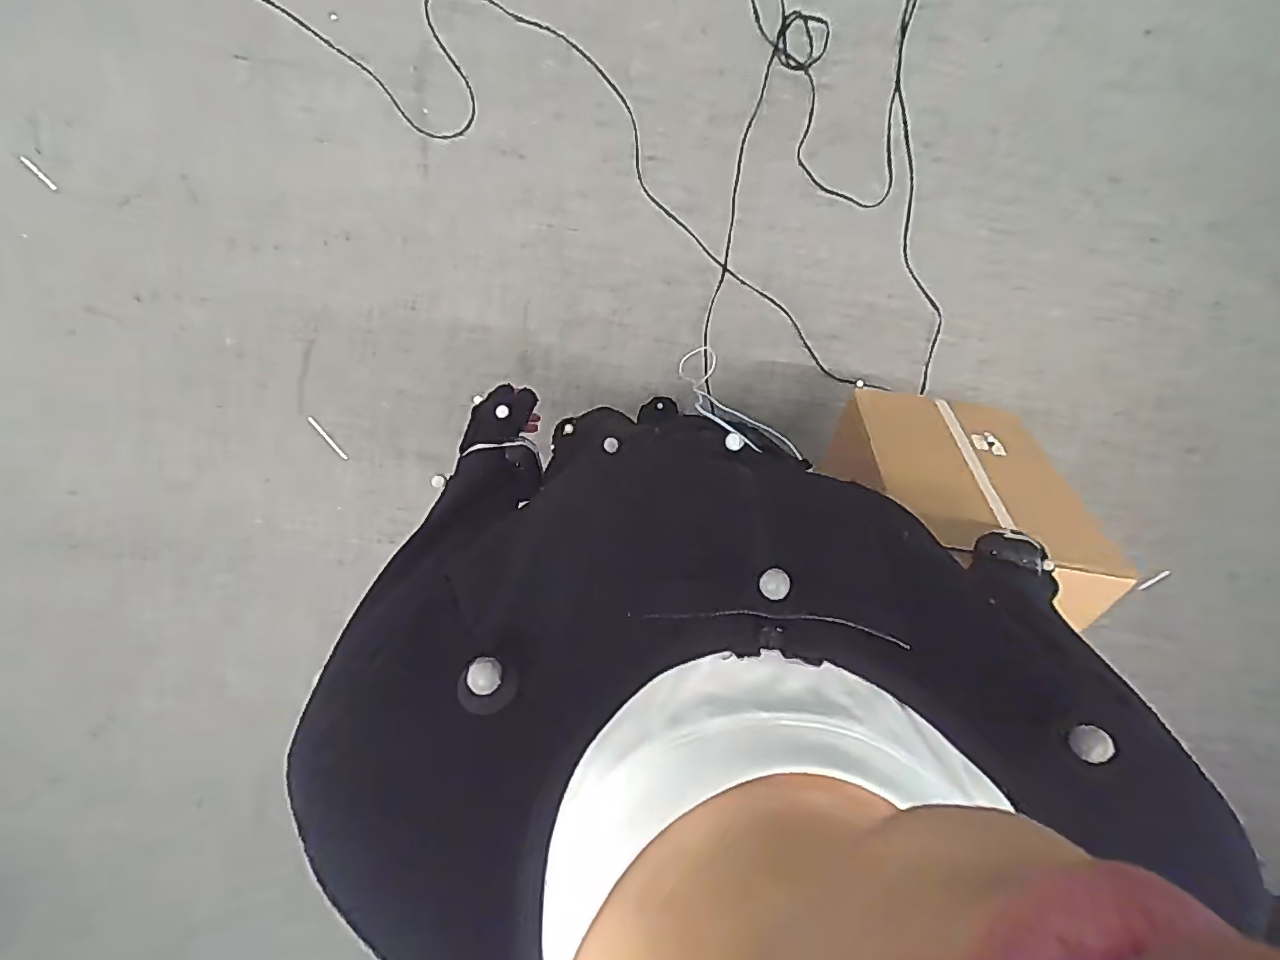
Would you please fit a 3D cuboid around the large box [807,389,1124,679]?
[{"bbox_3d":[0.514,0.087,0.975,0.320,0.408,0.320,10,131,2],"label":"large box"}]
